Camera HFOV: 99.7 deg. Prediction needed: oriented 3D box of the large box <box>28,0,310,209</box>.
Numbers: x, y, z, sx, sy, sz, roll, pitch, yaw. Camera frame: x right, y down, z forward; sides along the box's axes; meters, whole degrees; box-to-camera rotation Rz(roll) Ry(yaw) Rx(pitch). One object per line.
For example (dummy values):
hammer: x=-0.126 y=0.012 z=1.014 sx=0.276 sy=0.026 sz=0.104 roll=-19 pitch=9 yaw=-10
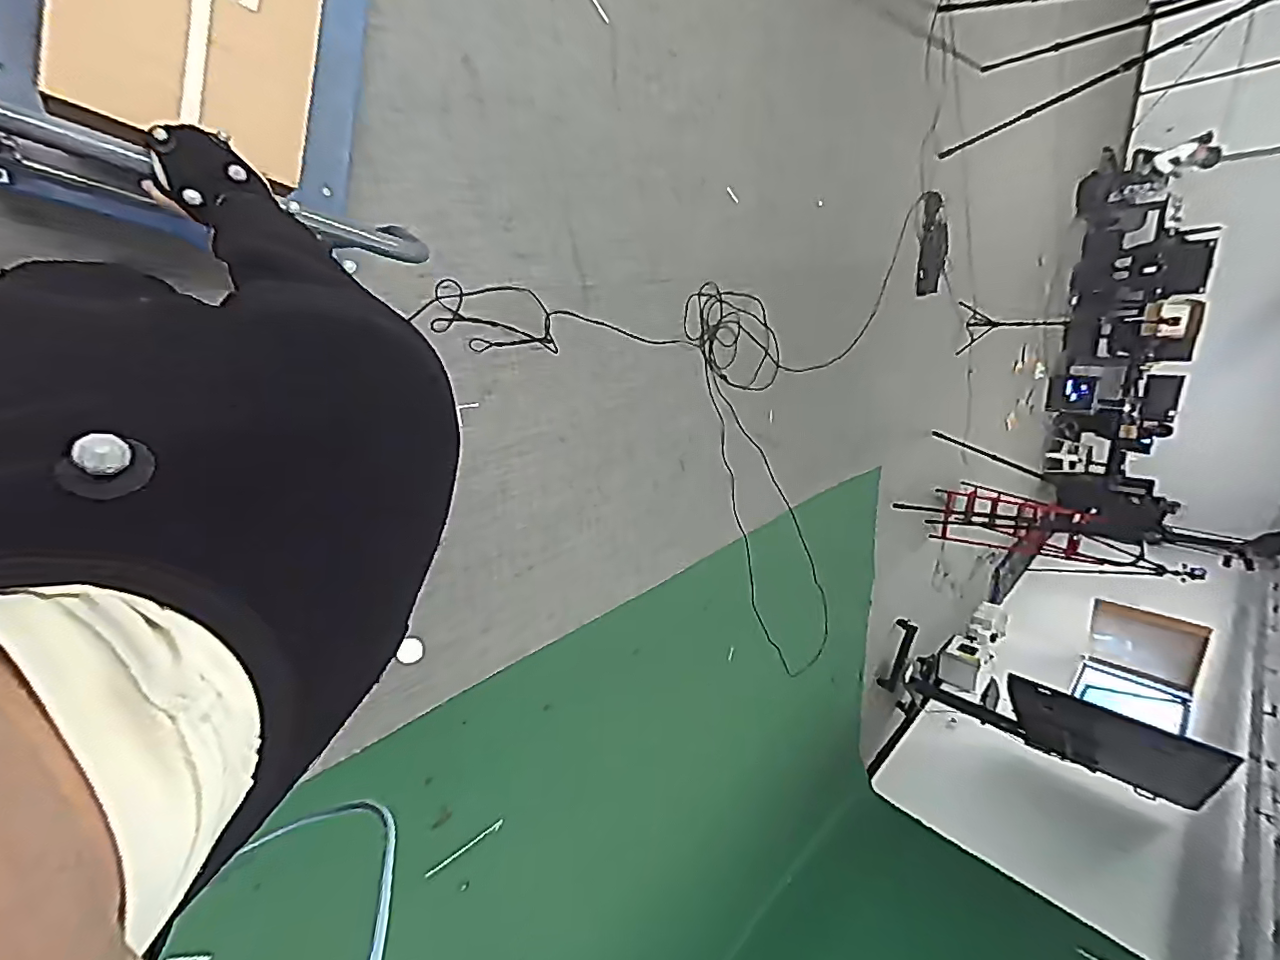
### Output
large box: x=-0.794 y=-0.752 z=0.933 sx=0.320 sy=0.320 sz=0.408 roll=5 pitch=97 yaw=-45
